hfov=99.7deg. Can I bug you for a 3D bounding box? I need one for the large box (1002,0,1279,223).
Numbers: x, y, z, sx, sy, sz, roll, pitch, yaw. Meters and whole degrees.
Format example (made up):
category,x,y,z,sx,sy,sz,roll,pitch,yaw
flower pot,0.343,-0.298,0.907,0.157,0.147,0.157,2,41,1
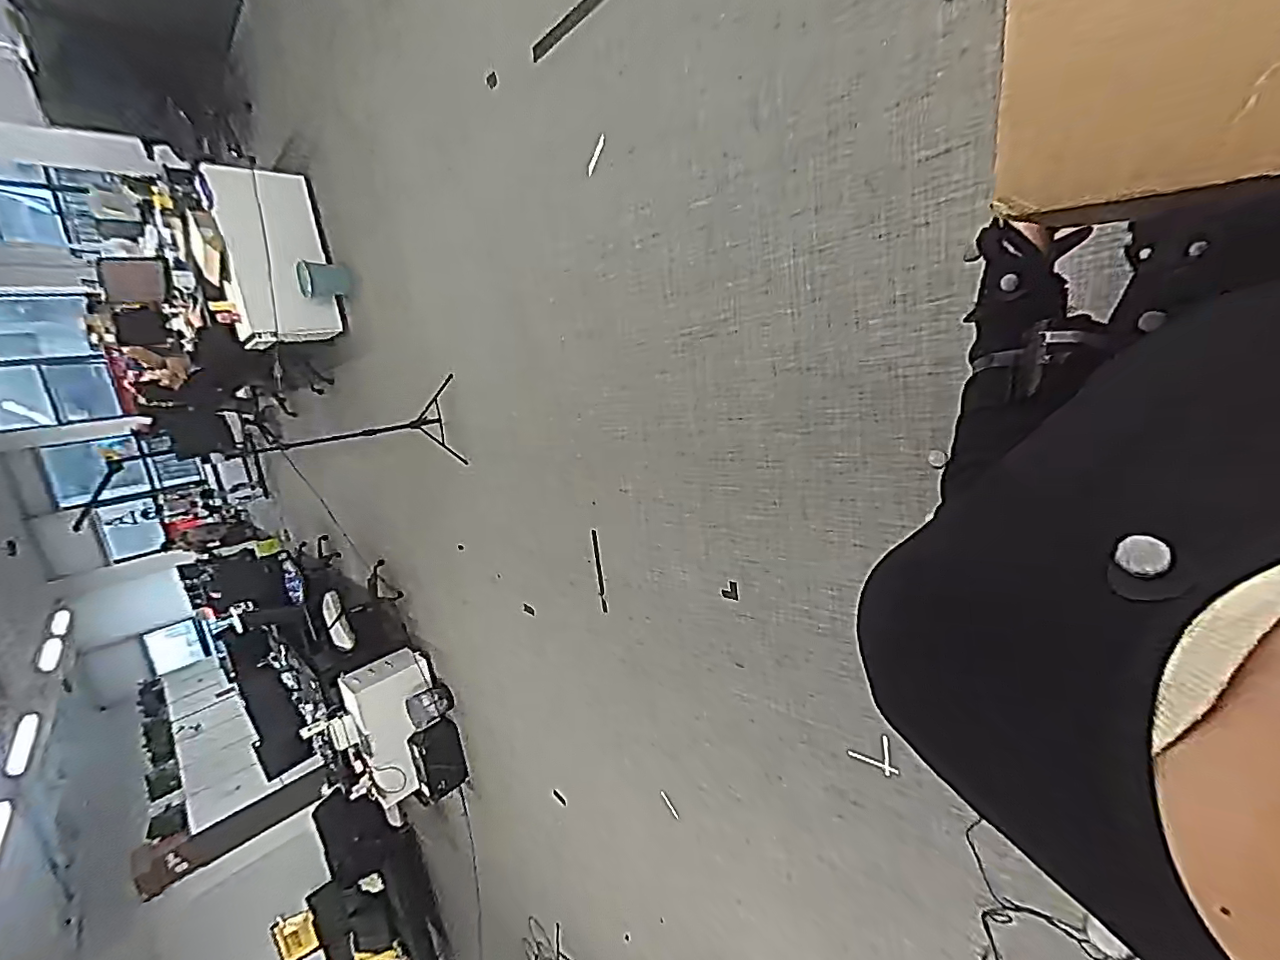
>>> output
category,x,y,z,sx,sy,sz,roll,pitch,yaw
large box,0.409,-0.310,0.212,0.408,0.320,0.320,9,114,39
